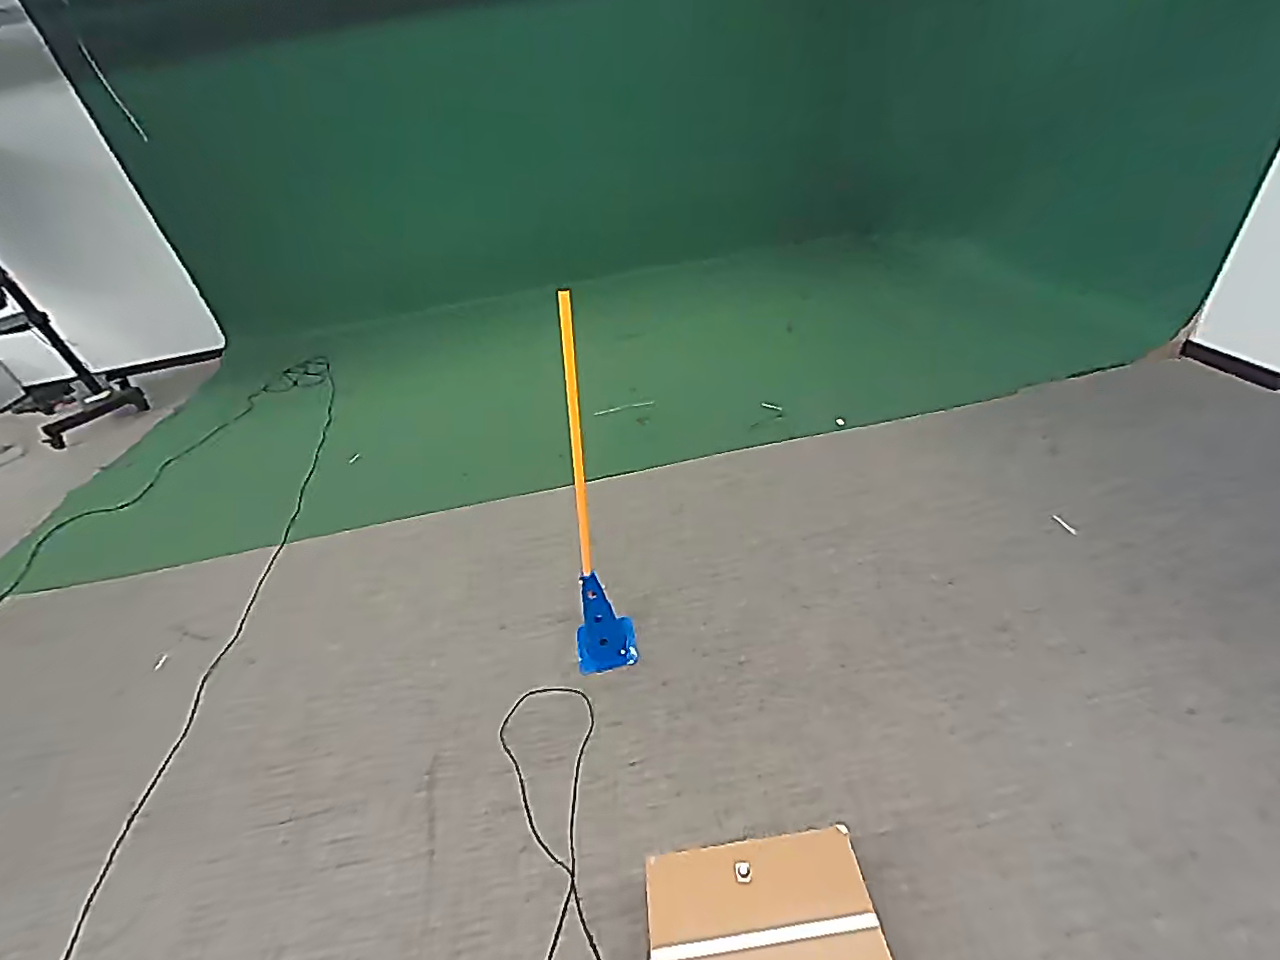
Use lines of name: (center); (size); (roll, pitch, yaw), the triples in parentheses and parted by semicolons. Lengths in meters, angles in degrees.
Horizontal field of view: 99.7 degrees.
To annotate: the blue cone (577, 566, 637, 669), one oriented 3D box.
blue cone: (-0.135, 0.416, 1.747); (0.193, 0.380, 0.192); (-12, 37, -6)
